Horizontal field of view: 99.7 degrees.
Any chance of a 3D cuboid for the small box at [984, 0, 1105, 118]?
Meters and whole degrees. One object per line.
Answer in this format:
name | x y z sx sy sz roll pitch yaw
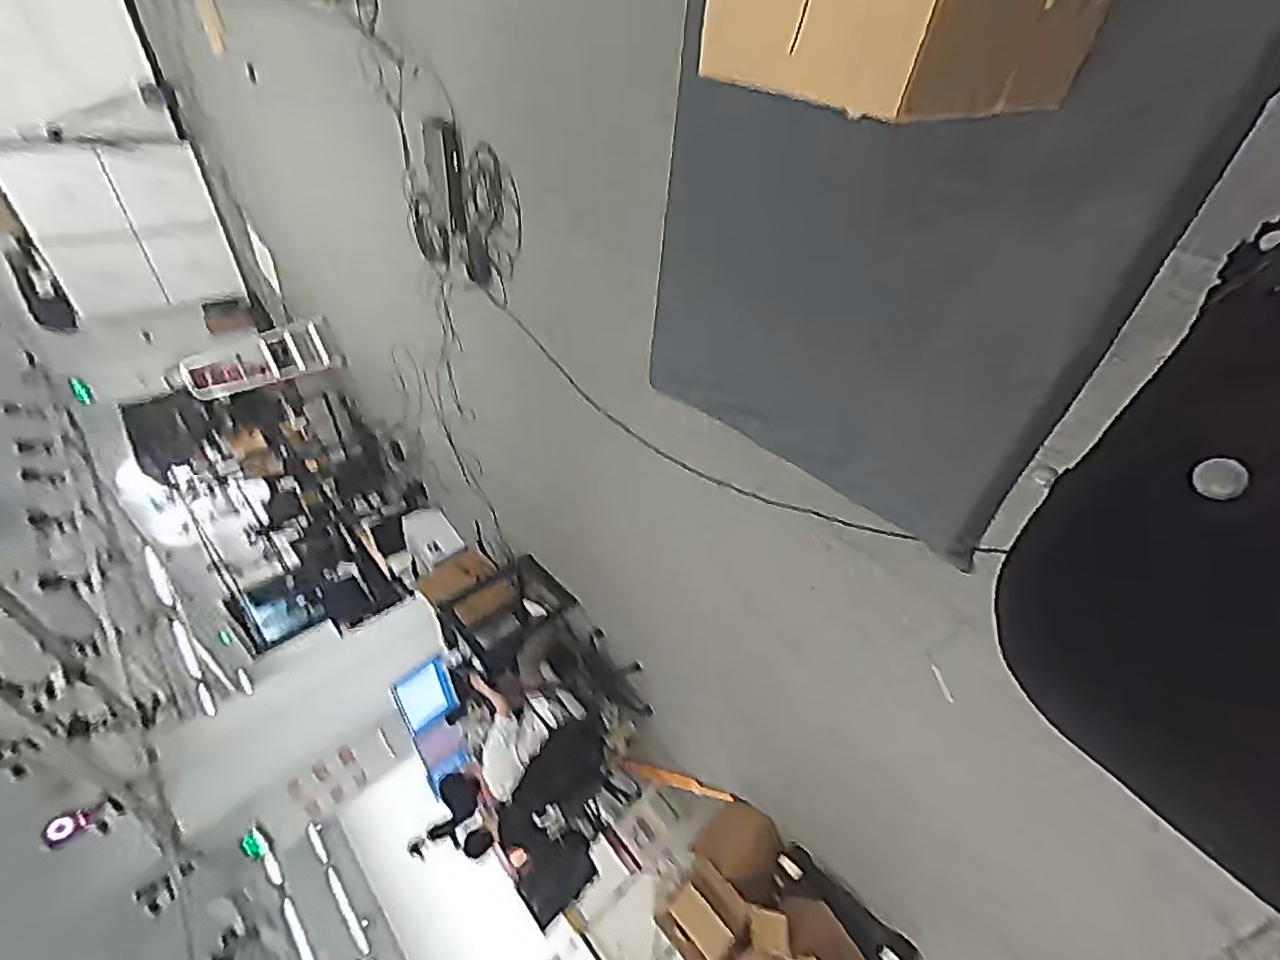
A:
small box | 0.286 -0.421 0.458 0.179 0.176 0.168 36 140 32
